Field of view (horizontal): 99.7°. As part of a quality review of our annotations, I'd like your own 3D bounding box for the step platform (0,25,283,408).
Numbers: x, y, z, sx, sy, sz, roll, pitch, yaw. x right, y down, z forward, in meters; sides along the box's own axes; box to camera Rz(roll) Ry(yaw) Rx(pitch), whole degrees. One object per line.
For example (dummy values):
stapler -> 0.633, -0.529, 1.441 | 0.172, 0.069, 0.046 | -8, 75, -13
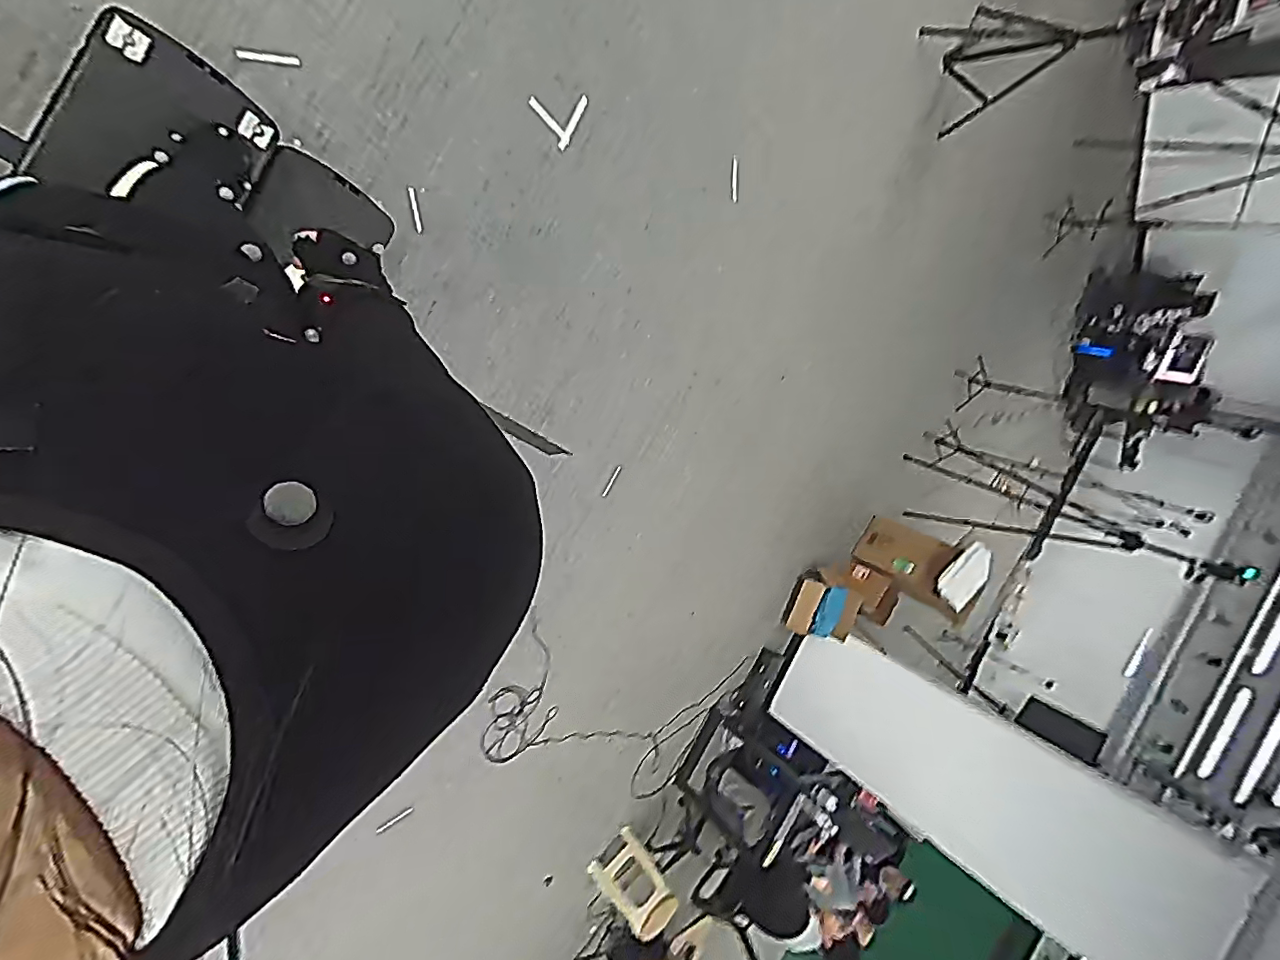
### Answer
step platform -> -1.005, -0.489, 1.066 | 0.286, 0.204, 0.684 | 28, 89, -48
